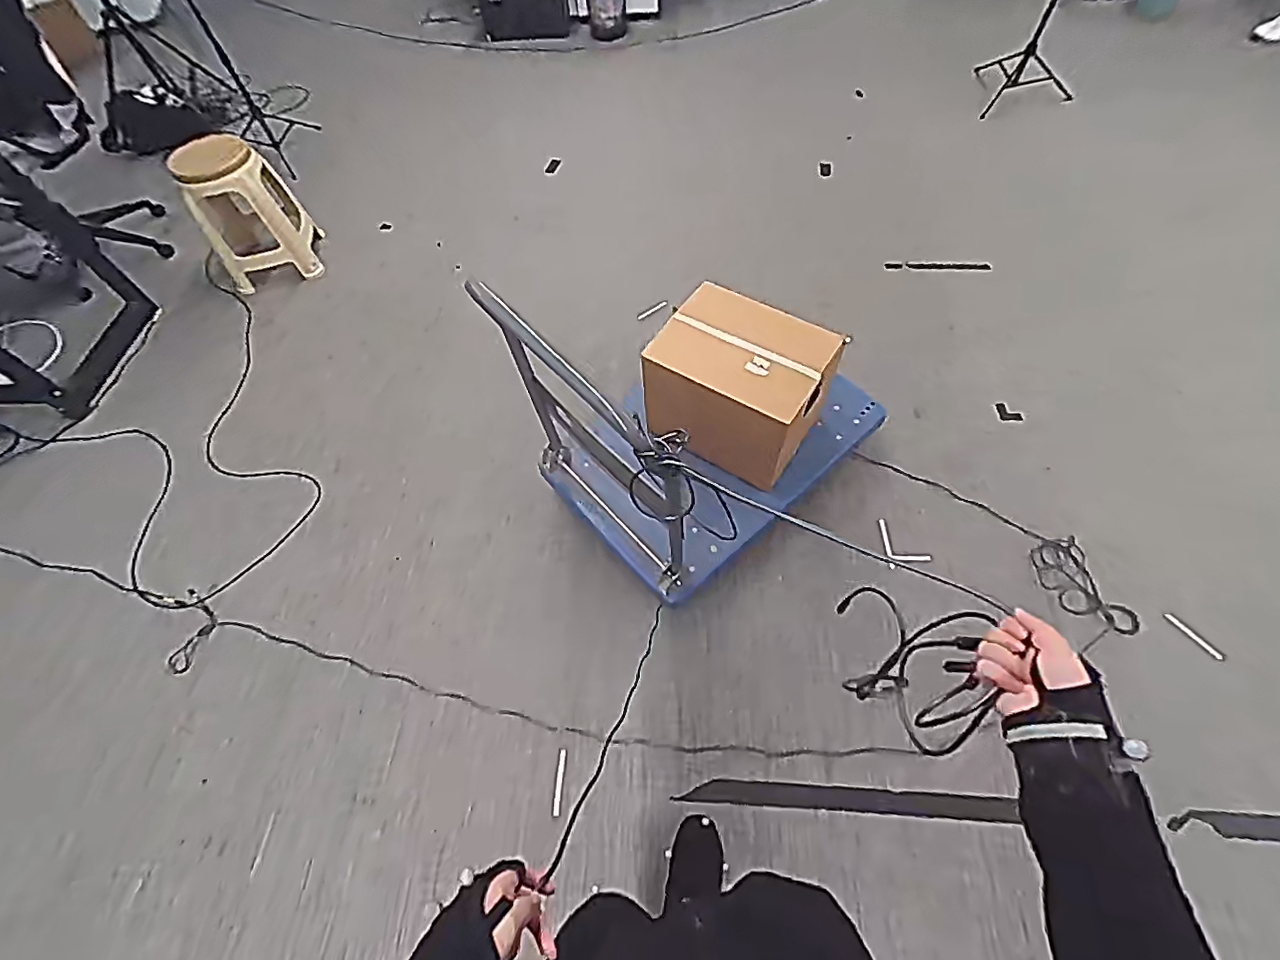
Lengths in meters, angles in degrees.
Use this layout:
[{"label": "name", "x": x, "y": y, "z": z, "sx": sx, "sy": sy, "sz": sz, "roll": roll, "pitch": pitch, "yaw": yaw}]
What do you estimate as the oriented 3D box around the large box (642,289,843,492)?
[{"label": "large box", "x": 0.252, "y": -0.236, "z": 1.442, "sx": 0.408, "sy": 0.320, "sz": 0.320, "roll": 29, "pitch": 66, "yaw": 18}]
